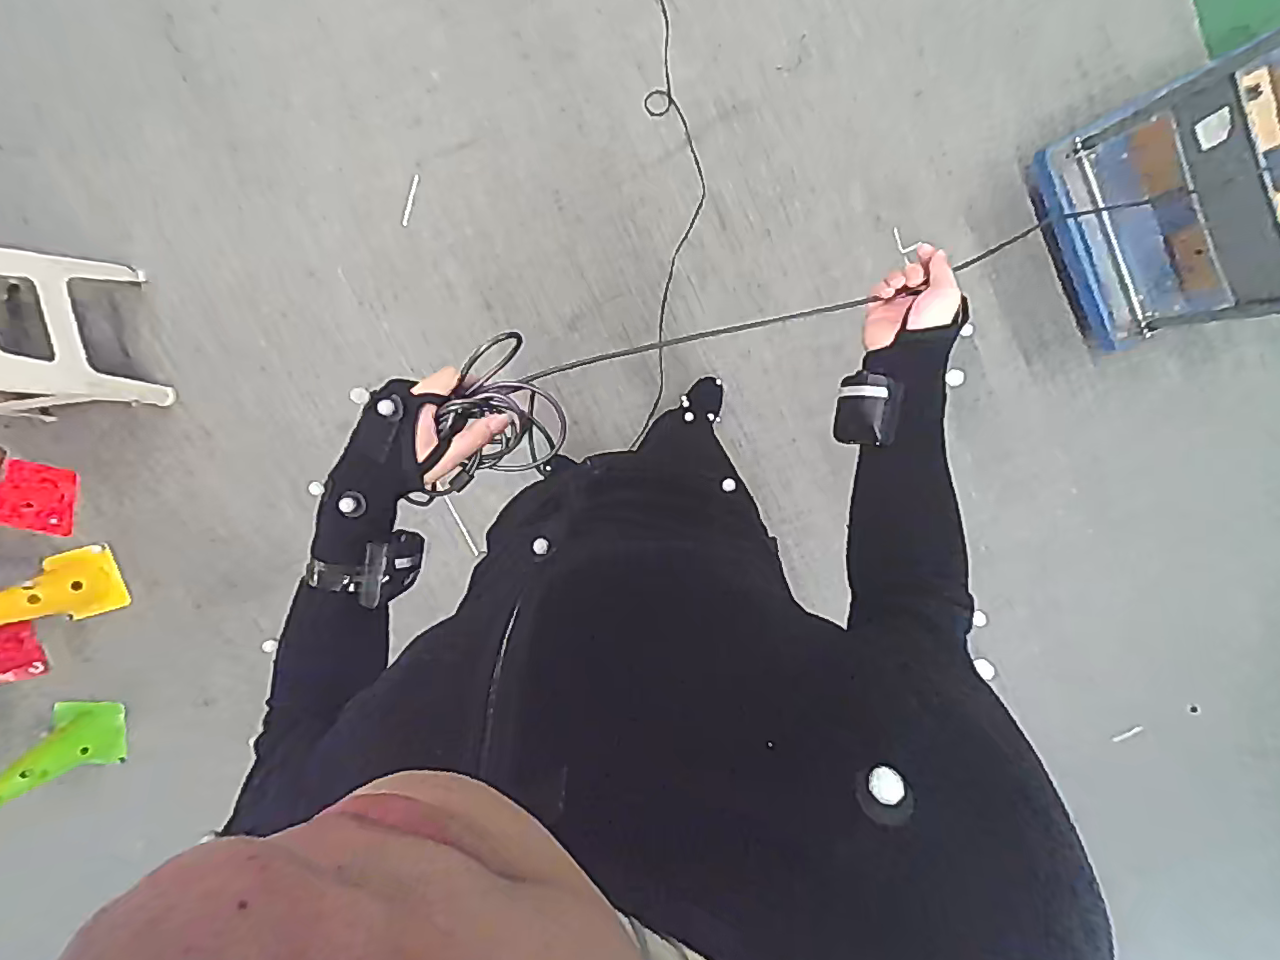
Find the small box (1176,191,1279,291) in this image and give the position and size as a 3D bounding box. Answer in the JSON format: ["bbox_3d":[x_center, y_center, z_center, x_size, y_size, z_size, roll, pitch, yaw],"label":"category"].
[{"bbox_3d":[1.486,-0.586,1.317,0.179,0.176,0.168,-26,97,3],"label":"small box"}]

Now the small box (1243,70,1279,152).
[{"bbox_3d":[1.599,-0.921,1.275,0.179,0.176,0.168,-30,98,3],"label":"small box"}]
